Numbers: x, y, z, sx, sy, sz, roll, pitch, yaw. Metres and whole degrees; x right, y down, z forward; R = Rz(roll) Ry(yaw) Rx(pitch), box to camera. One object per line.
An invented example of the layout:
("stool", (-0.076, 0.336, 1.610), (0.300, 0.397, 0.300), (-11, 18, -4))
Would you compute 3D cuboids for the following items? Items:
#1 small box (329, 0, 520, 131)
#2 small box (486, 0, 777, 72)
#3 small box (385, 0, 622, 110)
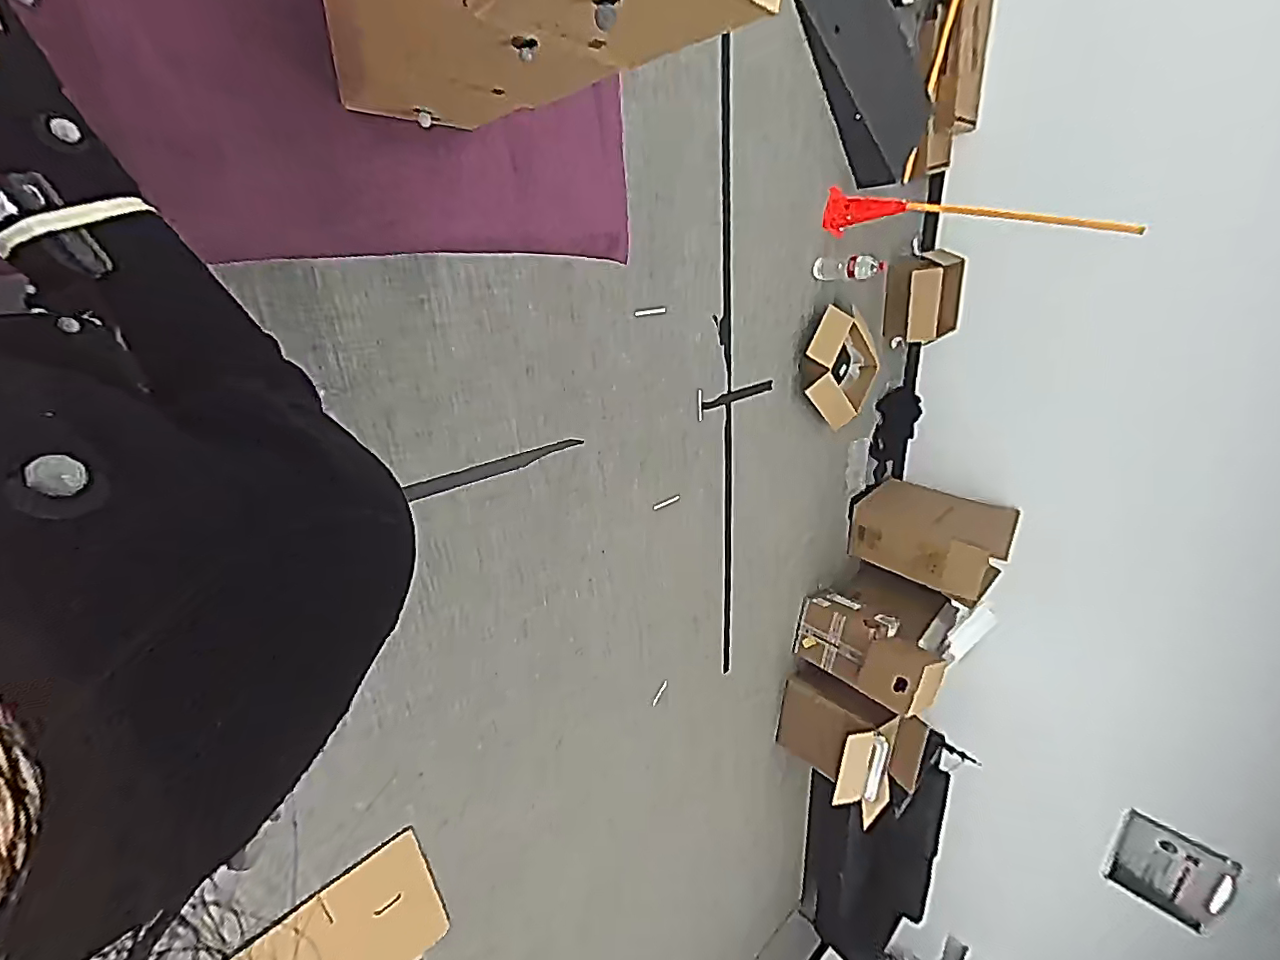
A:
("small box", (-0.236, -0.516, 0.601), (0.168, 0.176, 0.179), (-19, 117, -38))
("small box", (-0.014, -0.424, 0.379), (0.168, 0.176, 0.179), (-16, 115, -39))
("small box", (-0.125, -0.471, 0.489), (0.168, 0.176, 0.179), (-16, 114, -39))
